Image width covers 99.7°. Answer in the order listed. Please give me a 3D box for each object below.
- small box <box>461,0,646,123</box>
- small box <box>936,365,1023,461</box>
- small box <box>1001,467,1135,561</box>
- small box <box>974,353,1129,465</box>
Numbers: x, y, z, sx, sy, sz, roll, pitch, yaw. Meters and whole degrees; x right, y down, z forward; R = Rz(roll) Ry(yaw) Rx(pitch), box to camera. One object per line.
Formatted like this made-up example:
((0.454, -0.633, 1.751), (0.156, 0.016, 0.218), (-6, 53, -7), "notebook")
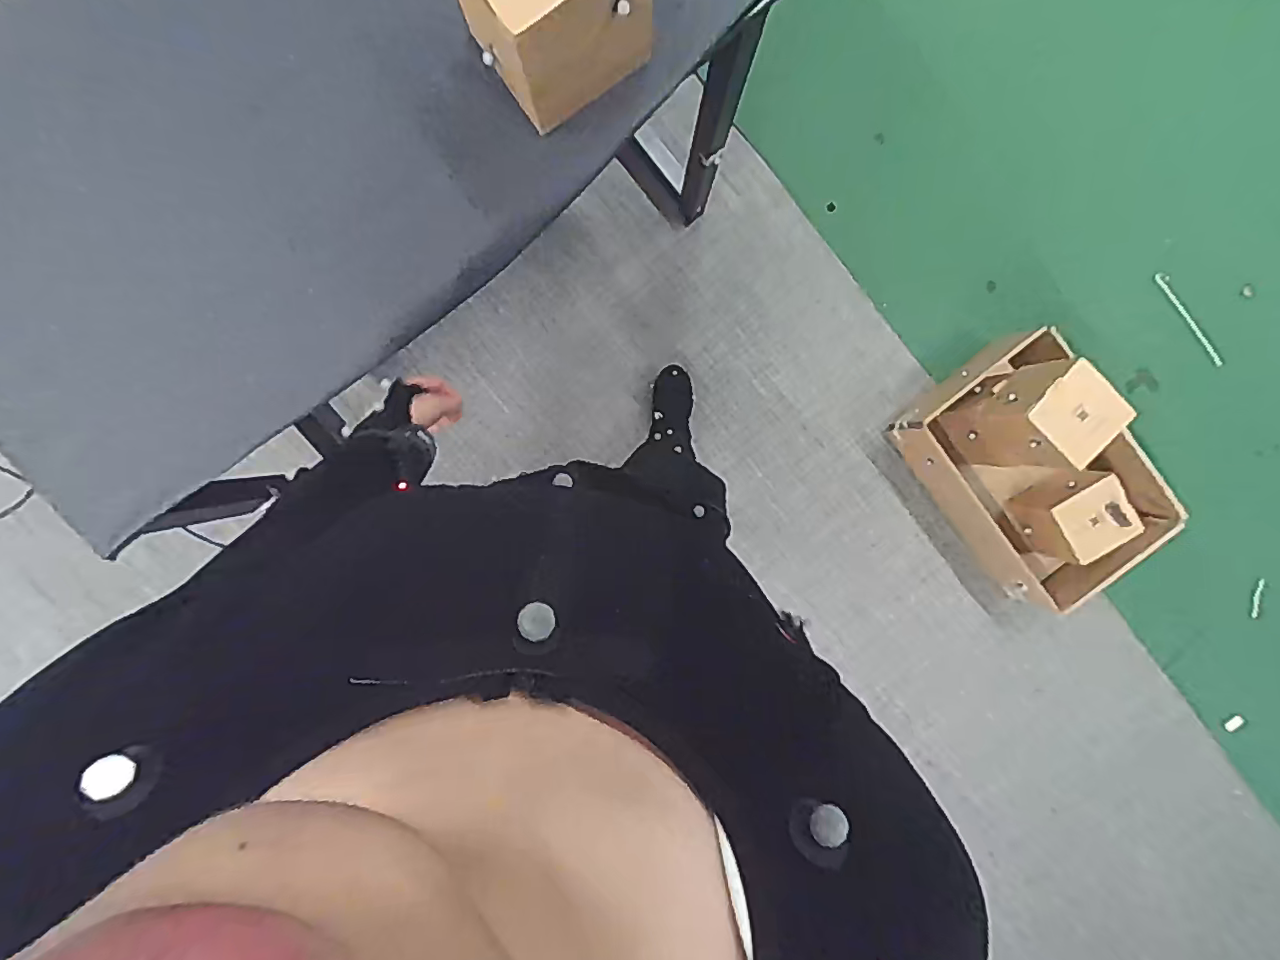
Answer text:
((-0.104, -0.560, 0.606), (0.179, 0.176, 0.168), (-35, 92, 2), "small box")
((0.893, -0.163, 1.360), (0.168, 0.176, 0.179), (-37, 94, 2), "small box")
((1.086, 0.078, 1.387), (0.179, 0.176, 0.168), (-31, 94, 2), "small box")
((0.895, -0.152, 1.196), (0.179, 0.176, 0.168), (43, 94, -7), "small box")
